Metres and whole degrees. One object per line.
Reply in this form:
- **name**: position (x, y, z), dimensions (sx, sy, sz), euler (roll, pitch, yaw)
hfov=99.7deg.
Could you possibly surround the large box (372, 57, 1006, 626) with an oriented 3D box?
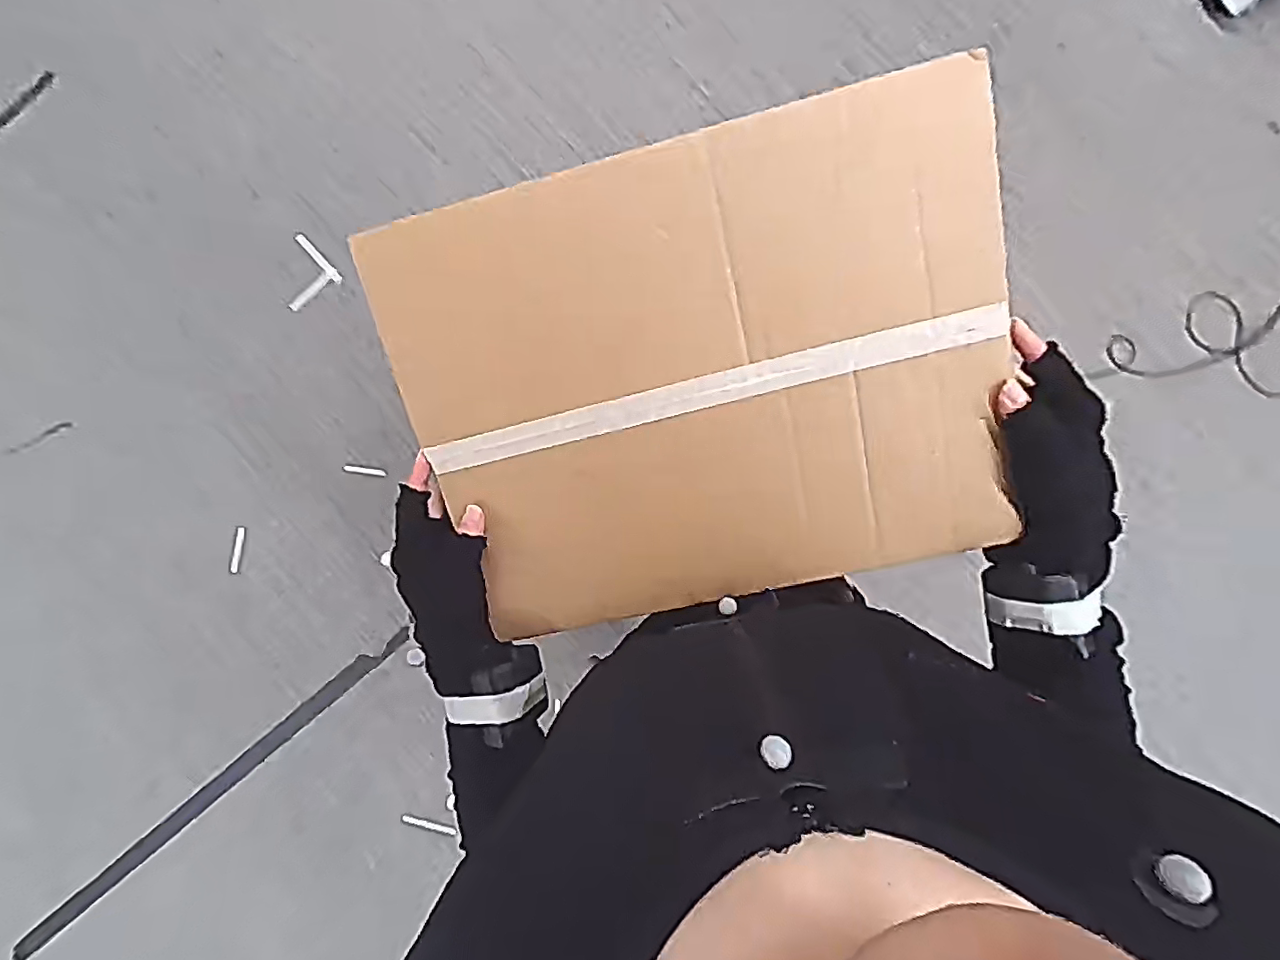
- **large box**: position (0.048, -0.106, 0.526), dimensions (0.408, 0.320, 0.320), euler (-13, 105, 6)
